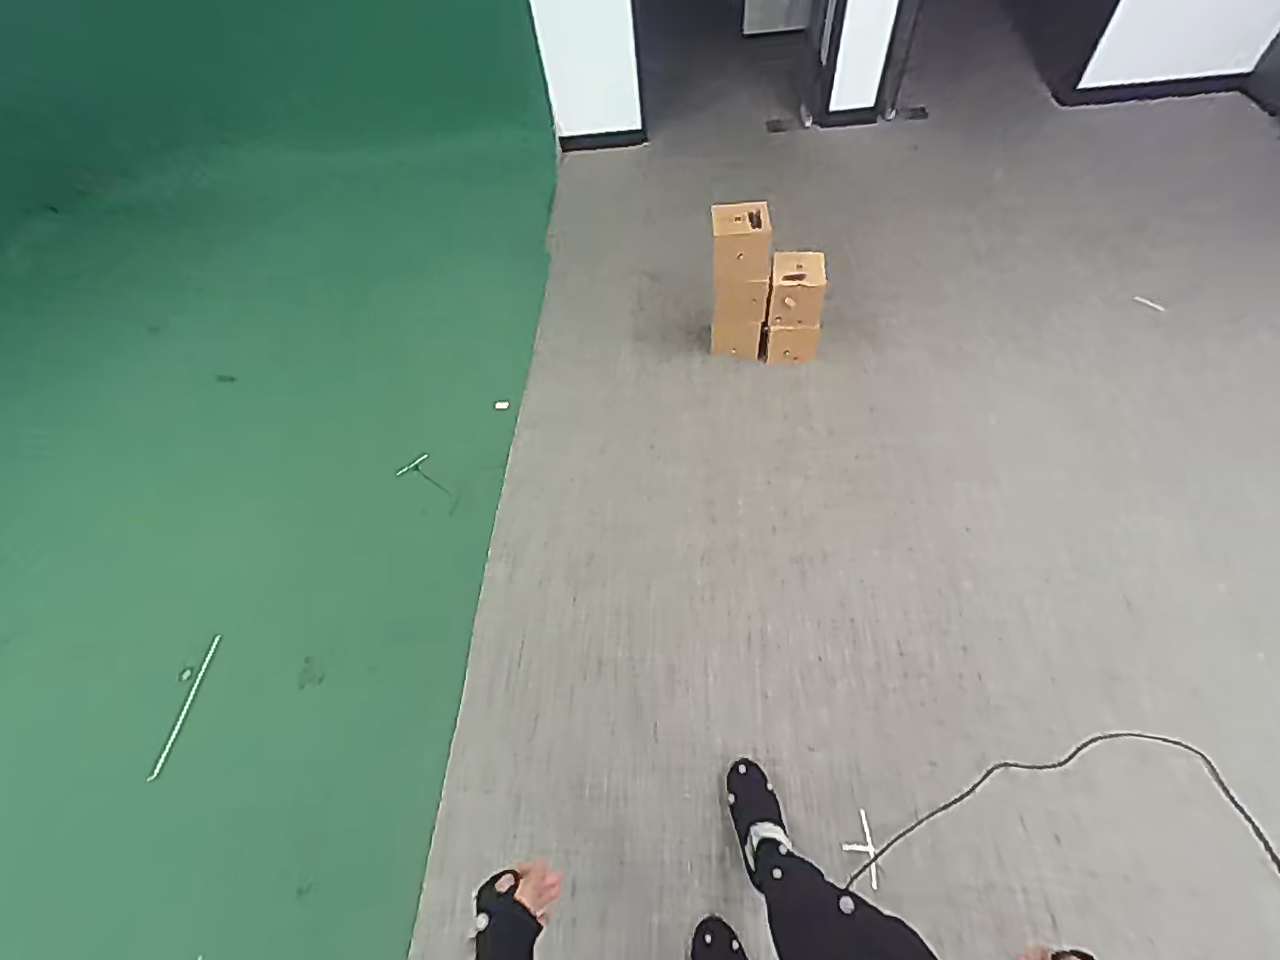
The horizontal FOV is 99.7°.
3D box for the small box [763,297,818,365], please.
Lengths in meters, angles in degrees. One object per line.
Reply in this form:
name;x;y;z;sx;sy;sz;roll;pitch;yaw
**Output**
small box;0.539;-0.538;1.959;0.168;0.176;0.179;-2;58;6
